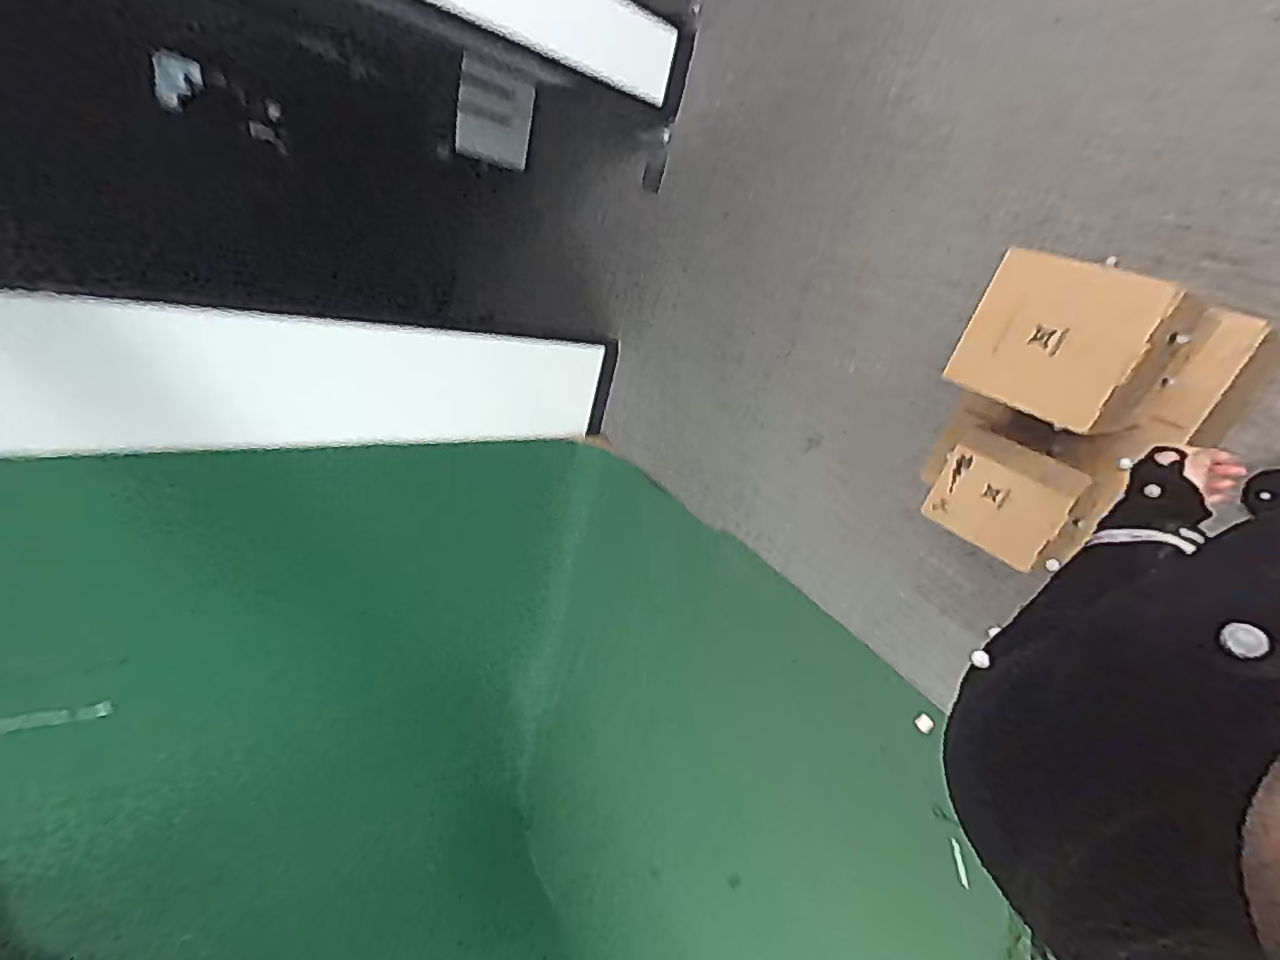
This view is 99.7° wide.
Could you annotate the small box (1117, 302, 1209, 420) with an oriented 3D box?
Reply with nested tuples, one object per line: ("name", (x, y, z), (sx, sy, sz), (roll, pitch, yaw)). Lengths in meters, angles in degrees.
("small box", (0.656, -0.190, 0.783), (0.179, 0.176, 0.168), (40, 126, 42))

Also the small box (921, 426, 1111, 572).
("small box", (0.606, 0.020, 0.872), (0.179, 0.176, 0.168), (40, 123, 40))

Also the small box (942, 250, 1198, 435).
("small box", (0.534, -0.171, 0.677), (0.179, 0.176, 0.168), (42, 126, 41))
